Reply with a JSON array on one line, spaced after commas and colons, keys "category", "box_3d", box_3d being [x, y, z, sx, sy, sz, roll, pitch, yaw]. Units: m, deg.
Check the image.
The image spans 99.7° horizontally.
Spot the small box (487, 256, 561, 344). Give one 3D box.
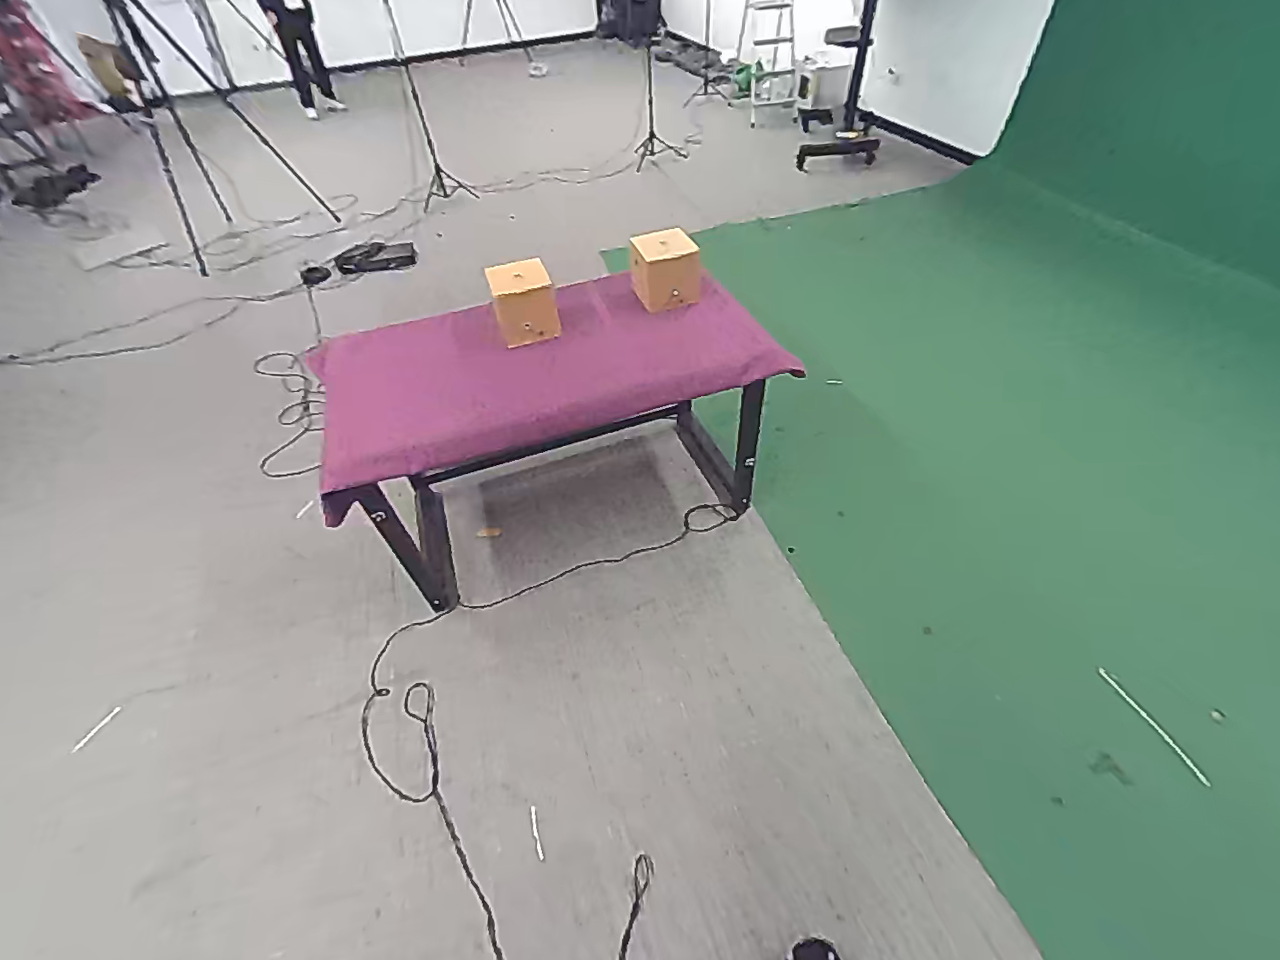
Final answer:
[{"category": "small box", "box_3d": [-0.338, -0.526, 1.580, 0.168, 0.176, 0.179, -16, 50, -11]}]

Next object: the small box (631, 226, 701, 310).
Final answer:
[{"category": "small box", "box_3d": [0.078, -0.649, 1.657, 0.168, 0.176, 0.179, -16, 50, -9]}]
